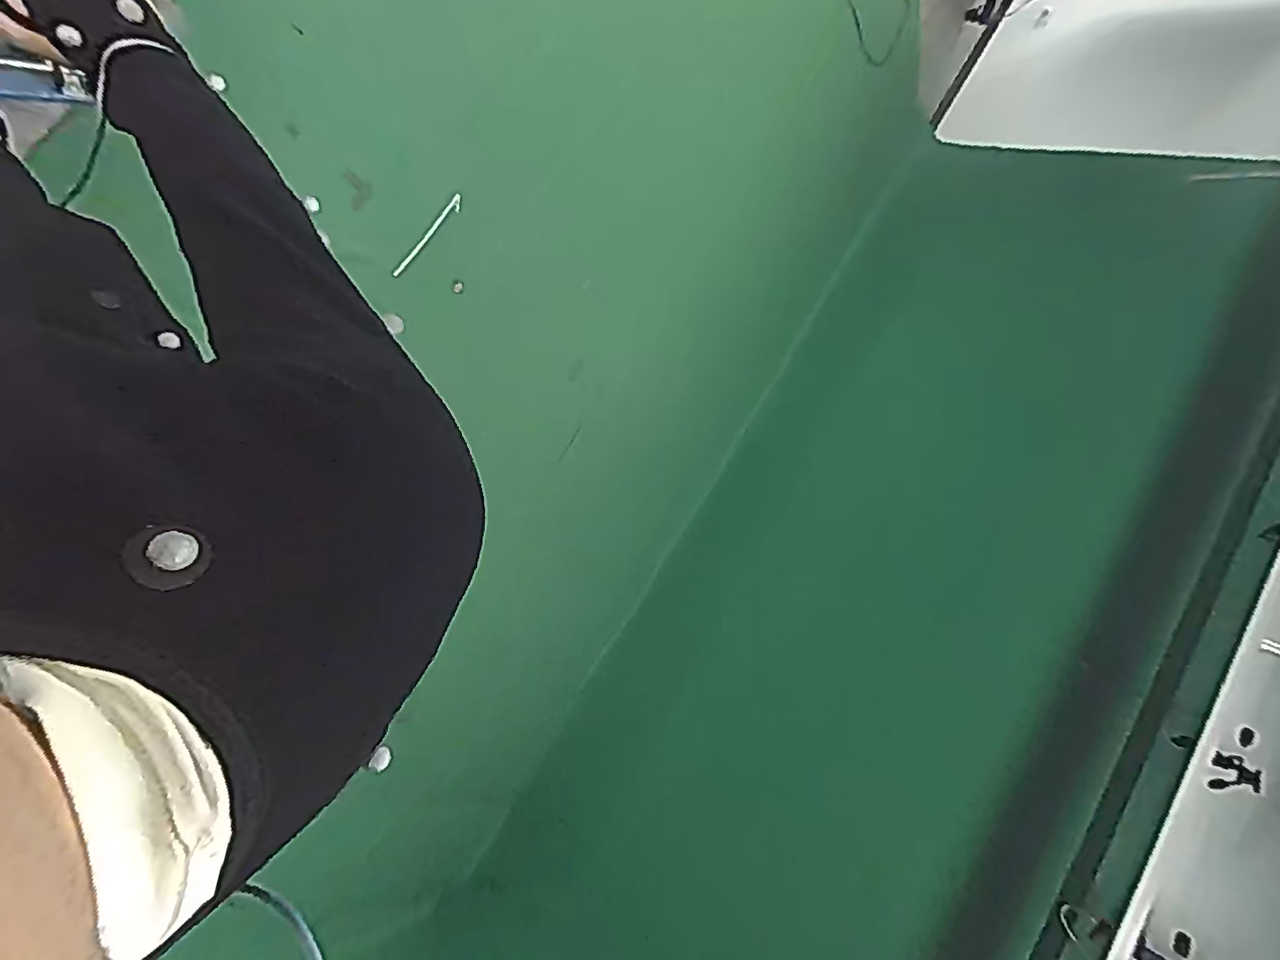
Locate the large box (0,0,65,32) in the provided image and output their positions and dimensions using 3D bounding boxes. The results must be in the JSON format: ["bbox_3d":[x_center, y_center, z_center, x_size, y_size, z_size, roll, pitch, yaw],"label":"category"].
[{"bbox_3d":[-0.943,-0.777,0.584,0.320,0.320,0.408,-28,132,-43],"label":"large box"}]
